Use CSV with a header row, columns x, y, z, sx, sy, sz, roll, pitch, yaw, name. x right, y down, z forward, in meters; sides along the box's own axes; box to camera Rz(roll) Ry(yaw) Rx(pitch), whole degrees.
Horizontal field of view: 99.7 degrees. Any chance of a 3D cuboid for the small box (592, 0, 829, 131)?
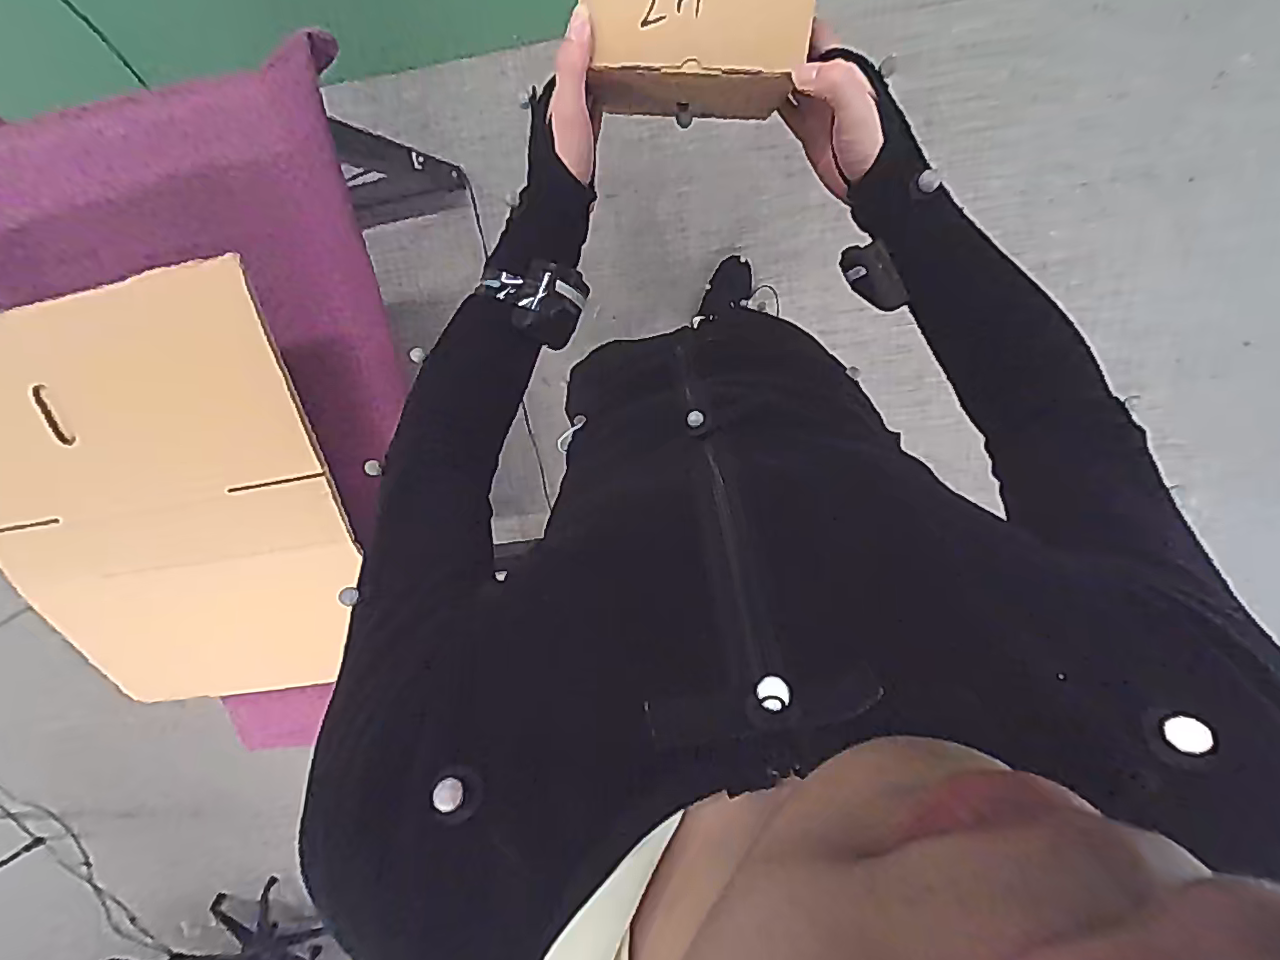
x,y,z,sx,sy,sz,roll,pitch,yaw,name
0.055,-0.401,0.431,0.168,0.176,0.179,4,114,2,small box
